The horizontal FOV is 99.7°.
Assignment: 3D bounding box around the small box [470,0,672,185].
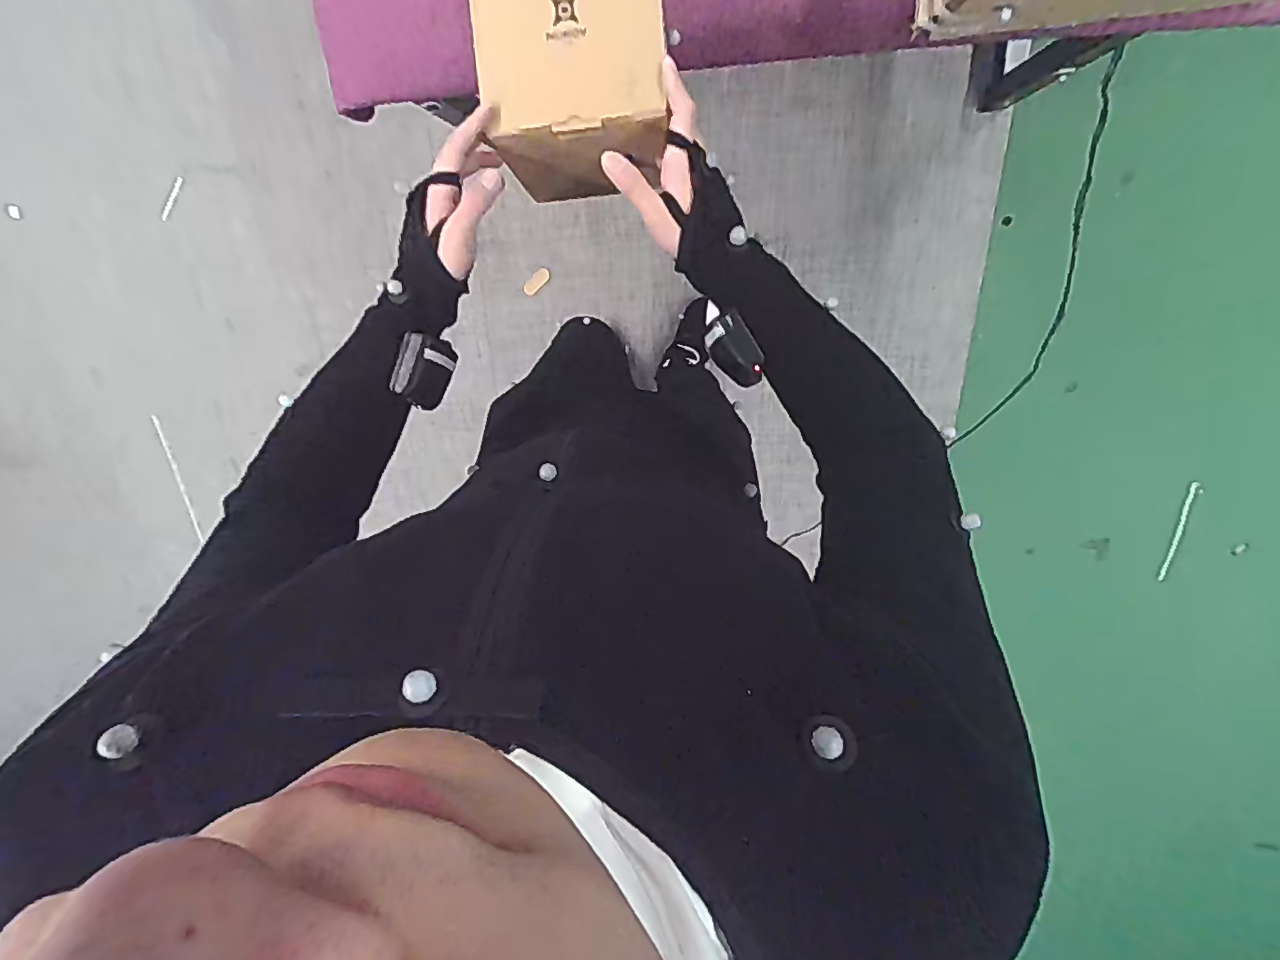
[{"bbox_3d":[-0.056,-0.413,0.536,0.168,0.176,0.179,-3,98,5],"label":"small box"}]
